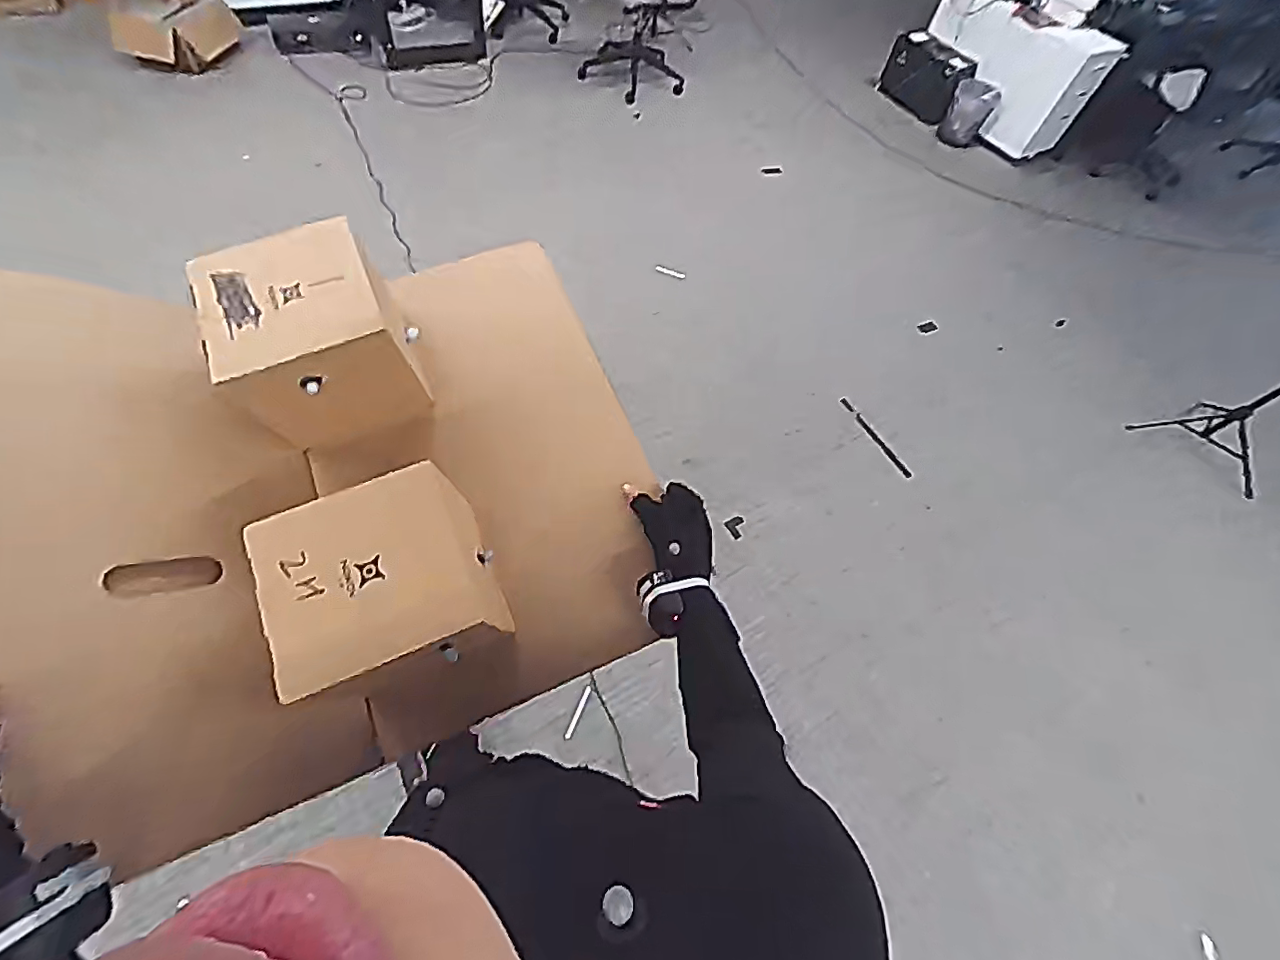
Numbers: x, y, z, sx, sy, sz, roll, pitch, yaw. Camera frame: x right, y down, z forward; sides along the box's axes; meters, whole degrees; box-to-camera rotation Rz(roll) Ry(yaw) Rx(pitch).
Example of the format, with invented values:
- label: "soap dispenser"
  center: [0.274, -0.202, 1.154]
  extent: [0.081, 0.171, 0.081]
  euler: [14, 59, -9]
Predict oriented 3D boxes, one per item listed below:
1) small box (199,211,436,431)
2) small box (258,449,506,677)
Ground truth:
- label: "small box"
  center: [-0.380, -0.183, 0.663]
  extent: [0.179, 0.176, 0.168]
  euler: [-22, 74, -10]
- label: "small box"
  center: [-0.253, 0.093, 0.573]
  extent: [0.179, 0.176, 0.168]
  euler: [-20, 73, -8]
